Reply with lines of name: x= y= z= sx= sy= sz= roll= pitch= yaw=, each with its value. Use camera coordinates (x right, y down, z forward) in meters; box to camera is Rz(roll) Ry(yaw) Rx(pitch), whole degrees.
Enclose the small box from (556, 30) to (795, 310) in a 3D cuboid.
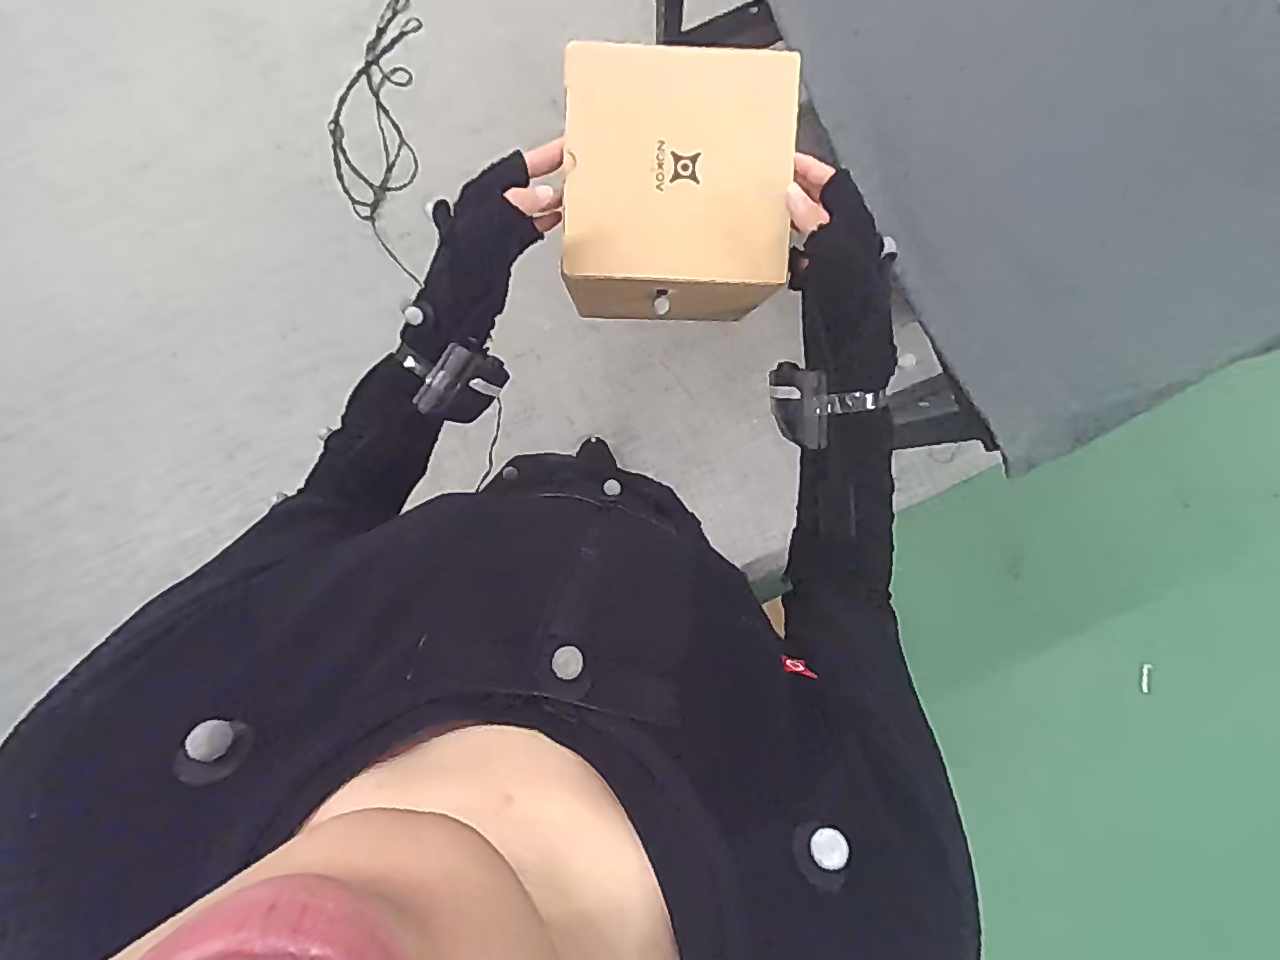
small box: x=0.023 y=-0.252 z=0.482 sx=0.179 sy=0.176 sz=0.168 roll=1 pitch=97 yaw=-1
